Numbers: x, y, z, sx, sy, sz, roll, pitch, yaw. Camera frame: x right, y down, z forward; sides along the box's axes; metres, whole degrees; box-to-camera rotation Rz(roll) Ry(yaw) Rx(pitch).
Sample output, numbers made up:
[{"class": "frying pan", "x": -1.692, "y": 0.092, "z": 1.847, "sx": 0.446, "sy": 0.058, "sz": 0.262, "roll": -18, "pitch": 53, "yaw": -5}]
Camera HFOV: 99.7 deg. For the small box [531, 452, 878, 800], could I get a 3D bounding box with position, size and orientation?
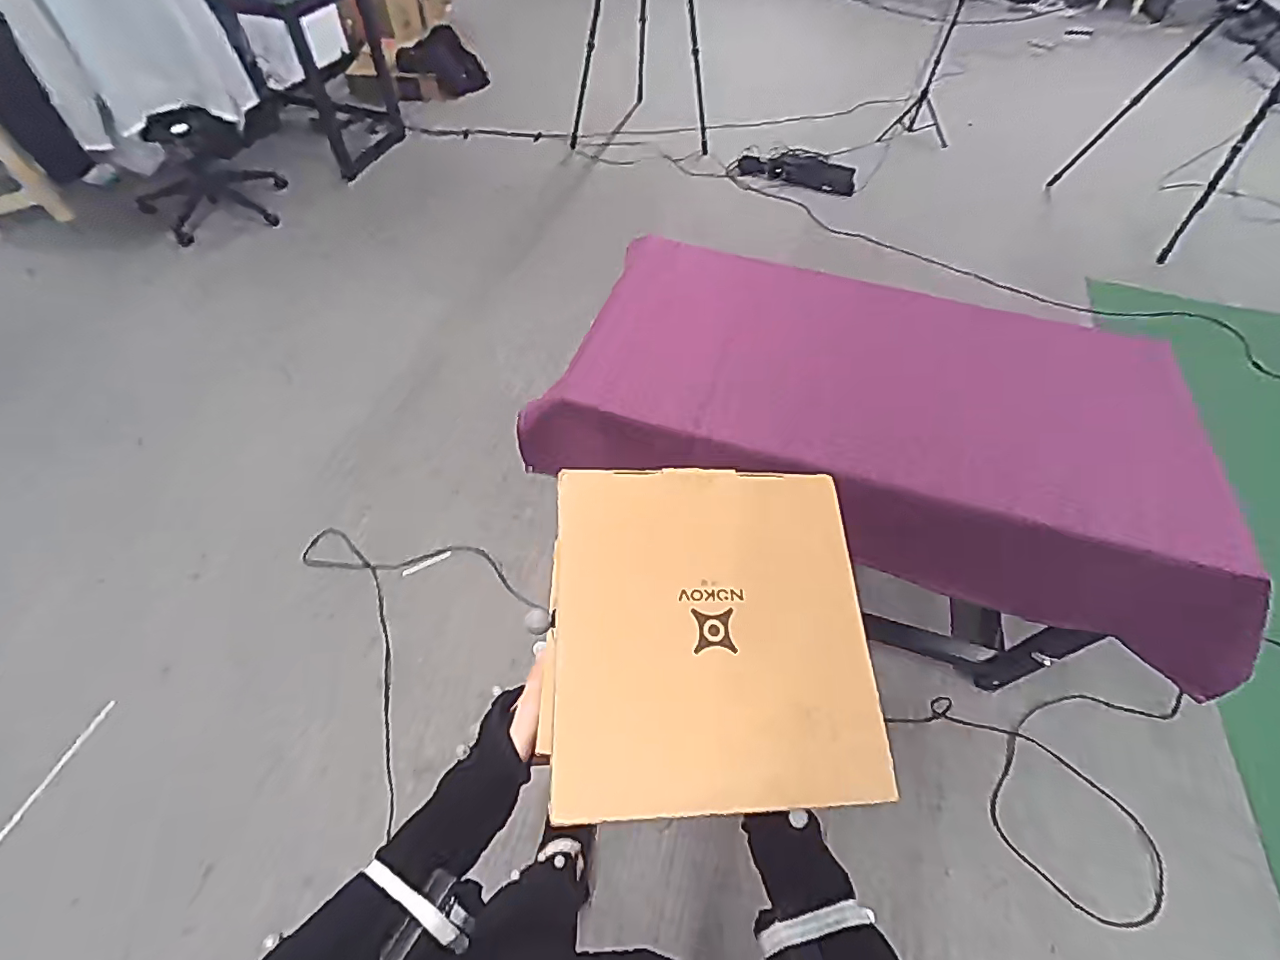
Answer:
[{"class": "small box", "x": 0.023, "y": 0.098, "z": 0.355, "sx": 0.168, "sy": 0.176, "sz": 0.179, "roll": 1, "pitch": 64, "yaw": -7}]
